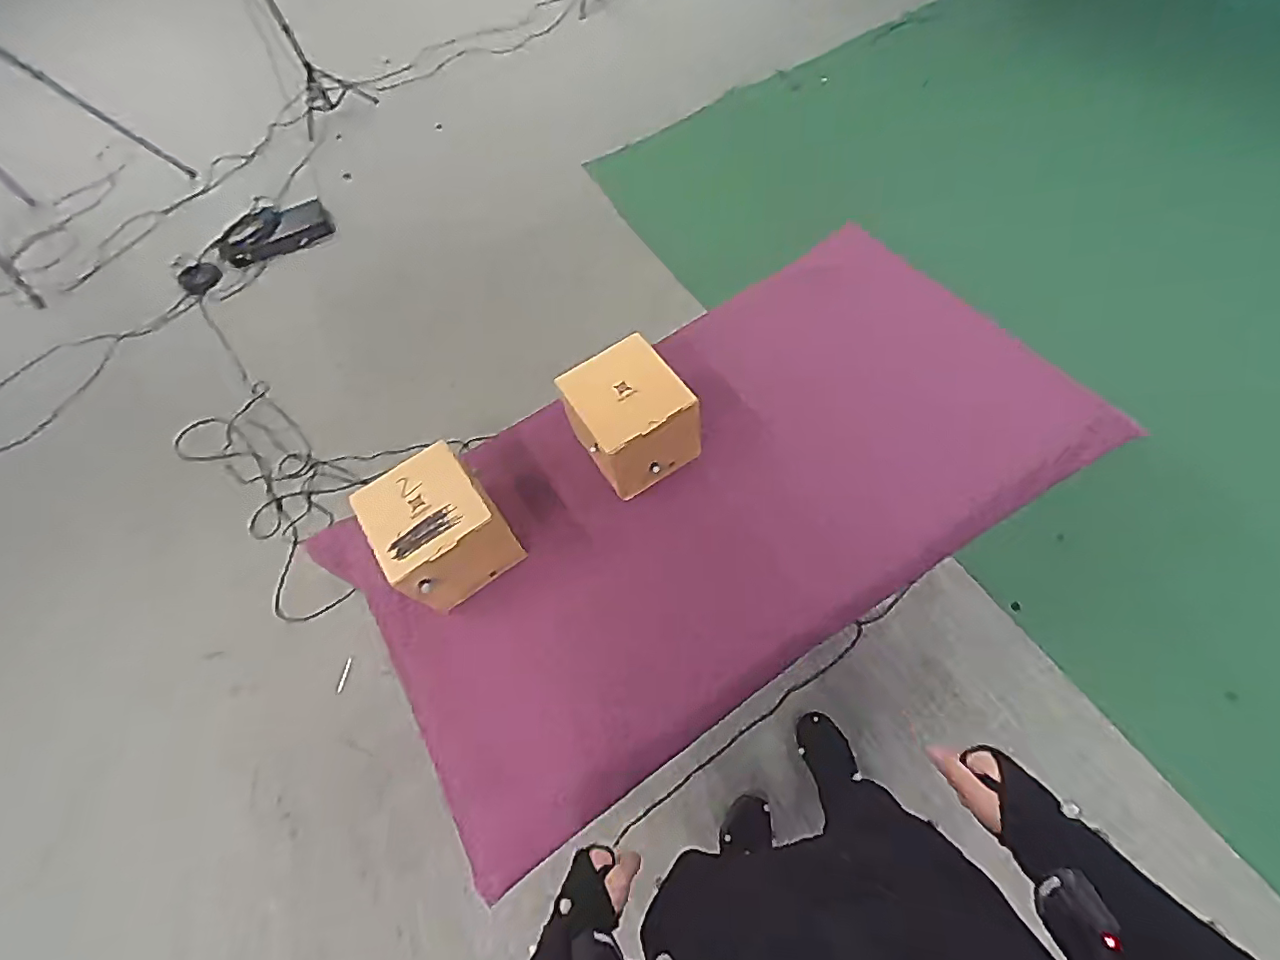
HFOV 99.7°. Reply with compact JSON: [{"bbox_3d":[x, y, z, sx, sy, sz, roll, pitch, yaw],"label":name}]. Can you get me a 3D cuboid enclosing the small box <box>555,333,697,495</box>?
[{"bbox_3d":[-0.018,-0.106,0.916,0.168,0.176,0.179,-33,64,-9],"label":"small box"}]
